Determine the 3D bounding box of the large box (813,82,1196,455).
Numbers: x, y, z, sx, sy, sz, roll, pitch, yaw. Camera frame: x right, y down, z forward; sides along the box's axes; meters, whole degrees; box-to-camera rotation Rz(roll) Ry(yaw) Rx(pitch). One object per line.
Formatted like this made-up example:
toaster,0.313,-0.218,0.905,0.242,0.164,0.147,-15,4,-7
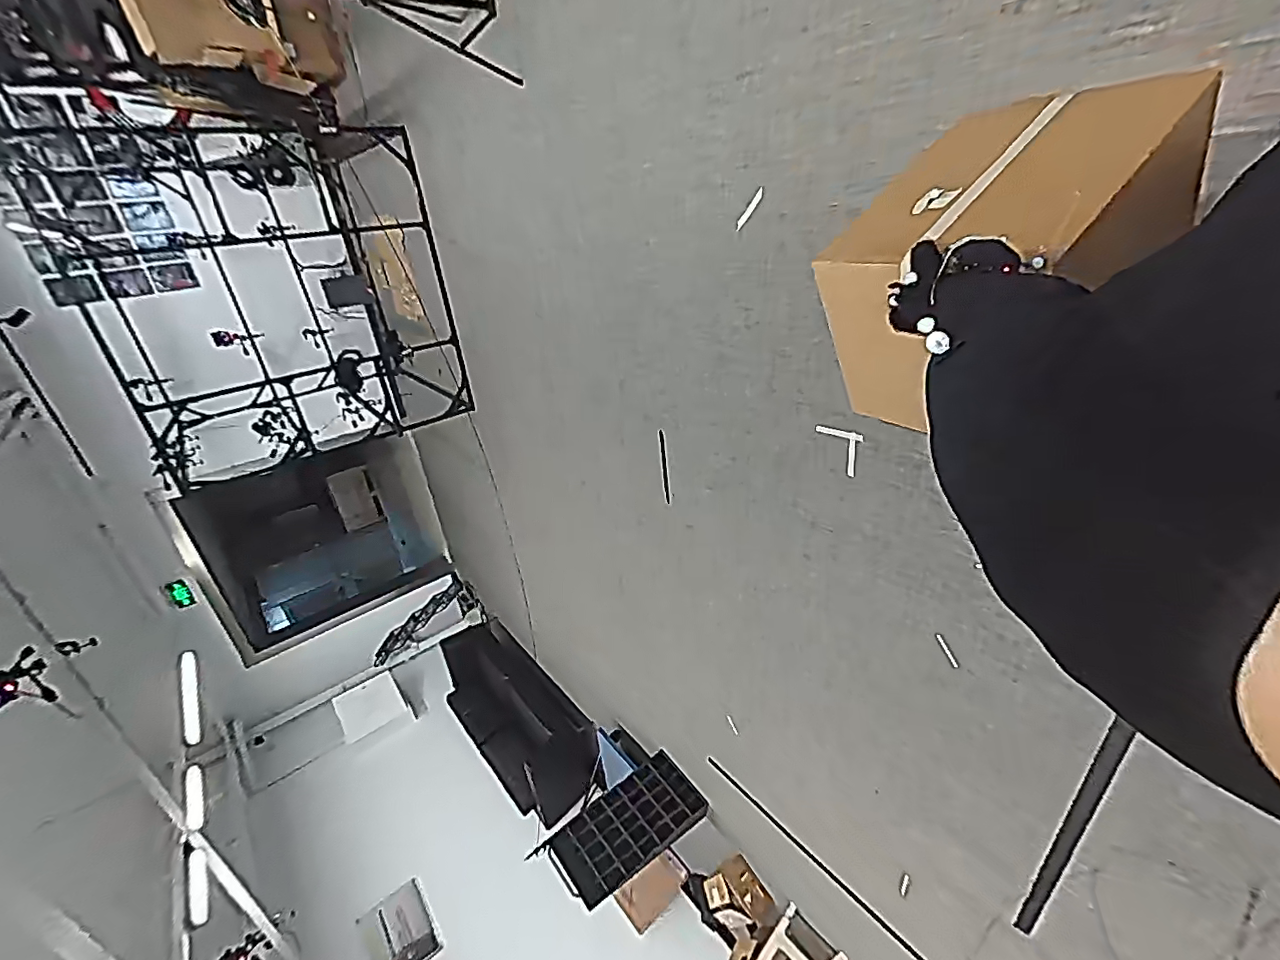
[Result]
large box,0.546,-0.312,0.834,0.320,0.408,0.320,29,161,50
